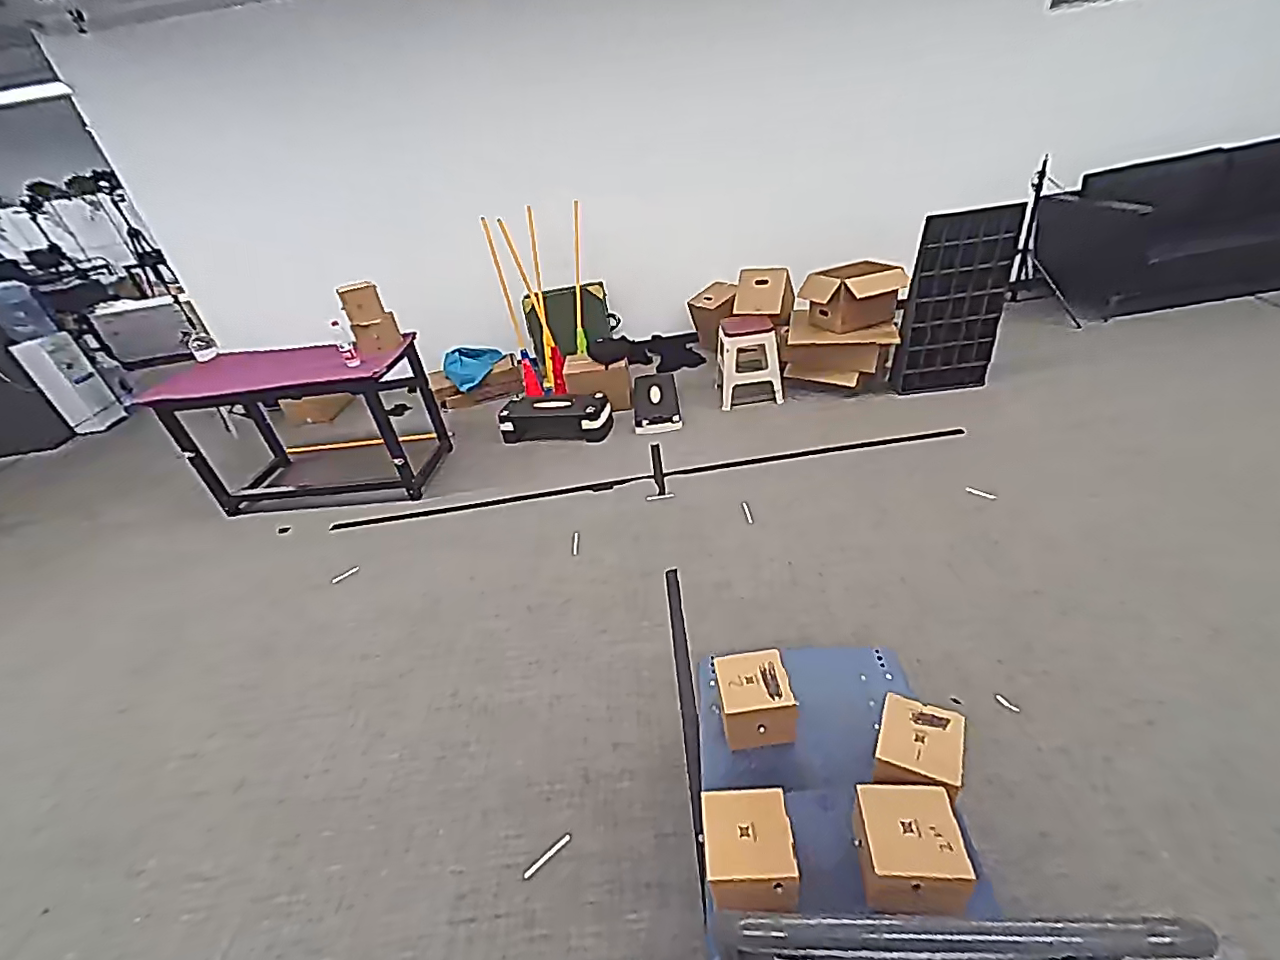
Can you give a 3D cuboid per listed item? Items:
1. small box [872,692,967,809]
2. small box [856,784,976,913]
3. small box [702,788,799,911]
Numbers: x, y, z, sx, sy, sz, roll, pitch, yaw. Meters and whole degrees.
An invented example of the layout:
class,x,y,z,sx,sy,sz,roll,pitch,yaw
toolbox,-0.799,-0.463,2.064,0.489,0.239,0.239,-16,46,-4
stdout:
class,x,y,z,sx,sy,sz,roll,pitch,yaw
small box,0.636,0.630,1.237,0.168,0.176,0.179,10,39,28
small box,0.543,0.743,1.093,0.179,0.176,0.168,-4,34,10
small box,0.230,0.775,1.134,0.179,0.176,0.168,-6,34,5
